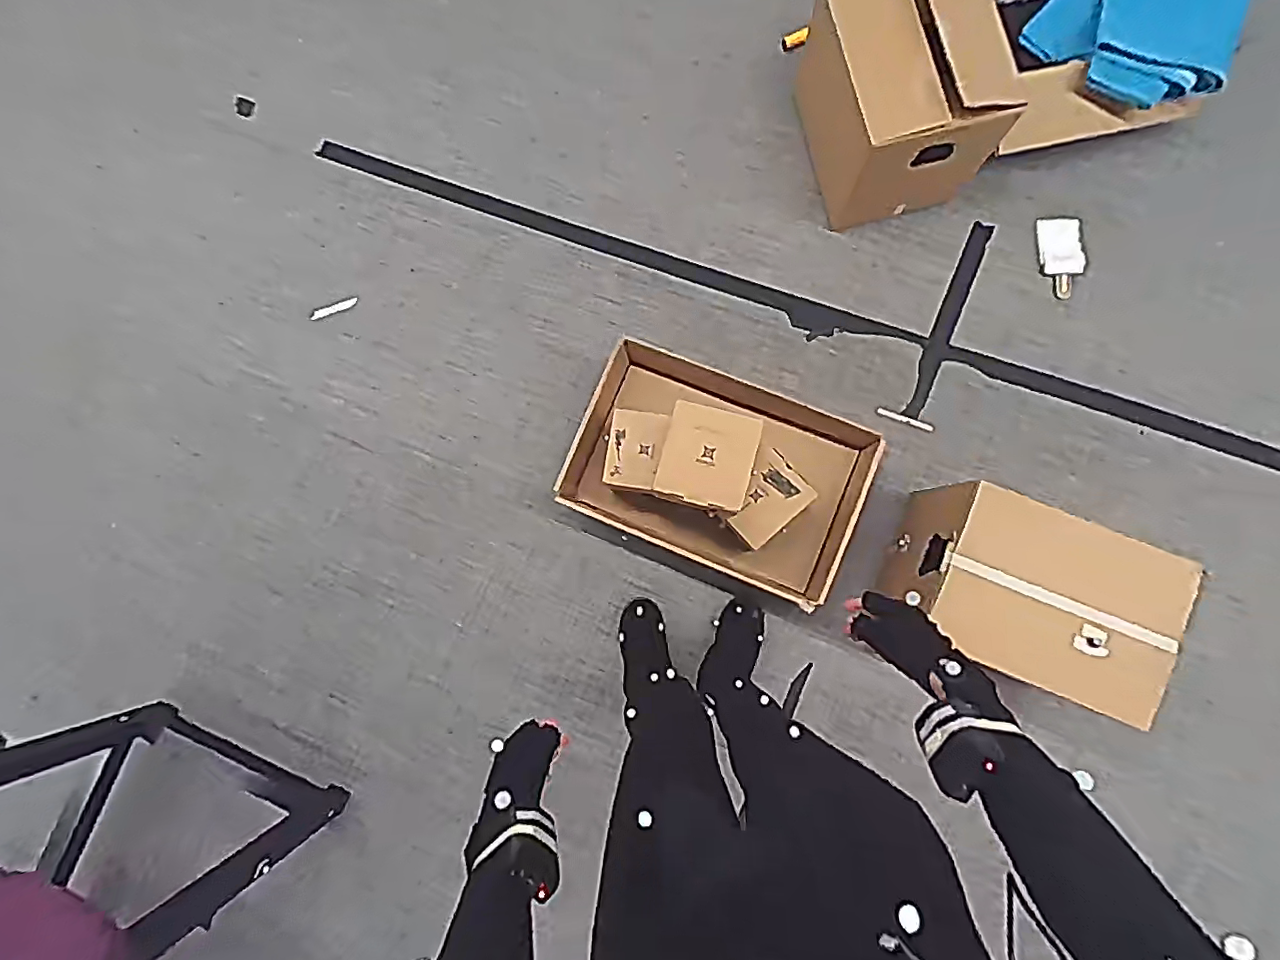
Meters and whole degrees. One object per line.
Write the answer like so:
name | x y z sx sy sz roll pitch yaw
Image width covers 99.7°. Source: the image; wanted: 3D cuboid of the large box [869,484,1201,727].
large box | 0.754 0.231 1.103 0.408 0.320 0.320 22 87 6

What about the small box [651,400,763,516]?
small box | 0.126 -0.034 1.042 0.168 0.176 0.179 15 84 5
